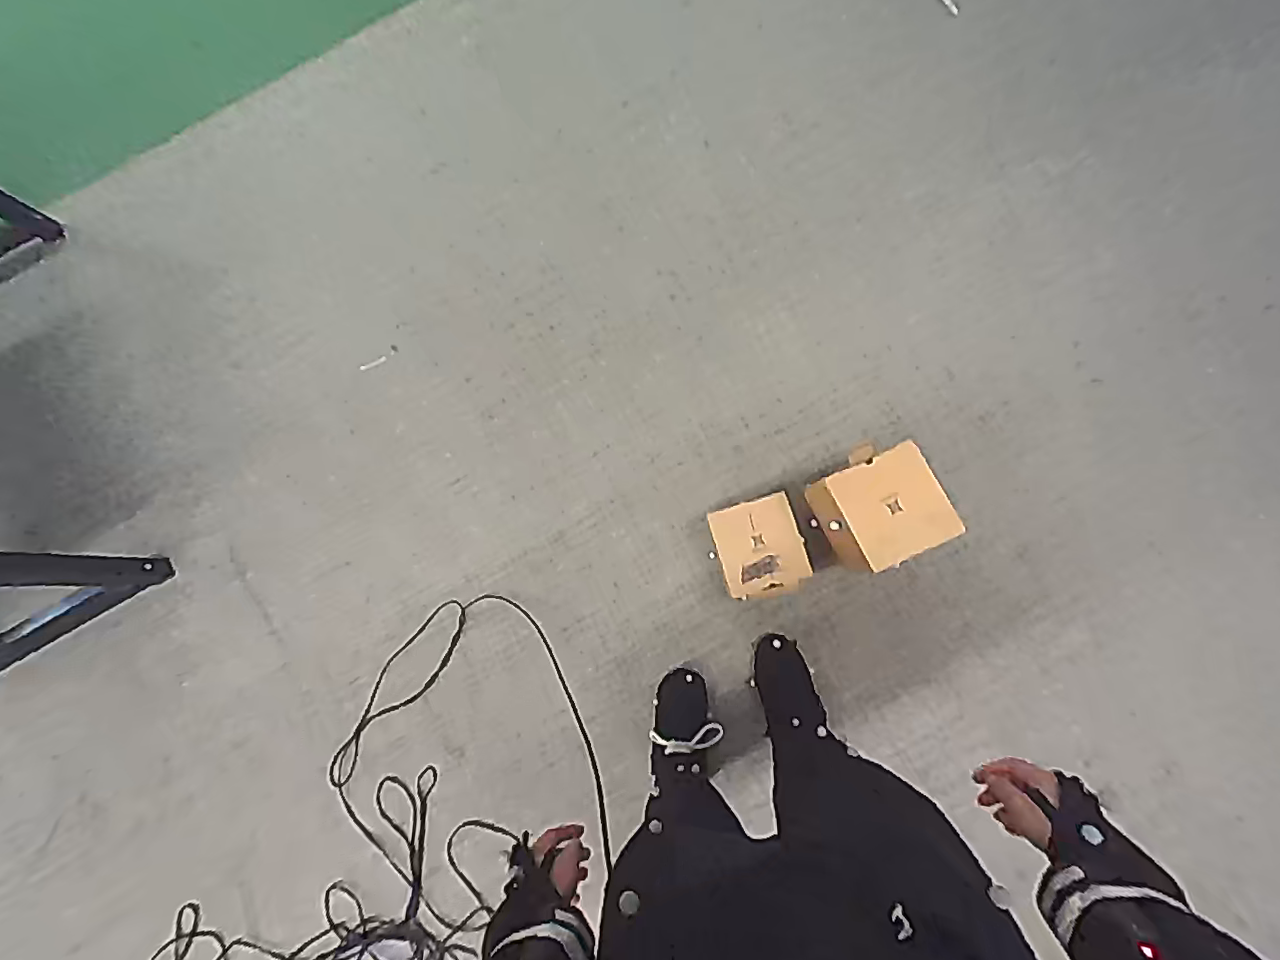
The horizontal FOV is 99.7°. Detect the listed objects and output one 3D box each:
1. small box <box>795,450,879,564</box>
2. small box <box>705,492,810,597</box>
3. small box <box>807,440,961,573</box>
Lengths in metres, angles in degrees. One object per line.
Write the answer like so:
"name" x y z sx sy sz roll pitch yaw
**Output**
"small box" 0.445 0.065 1.132 0.168 0.176 0.179 -25 77 1
"small box" 0.240 0.139 1.140 0.168 0.176 0.179 -16 77 3
"small box" 0.423 0.054 0.970 0.168 0.176 0.179 -25 78 1
